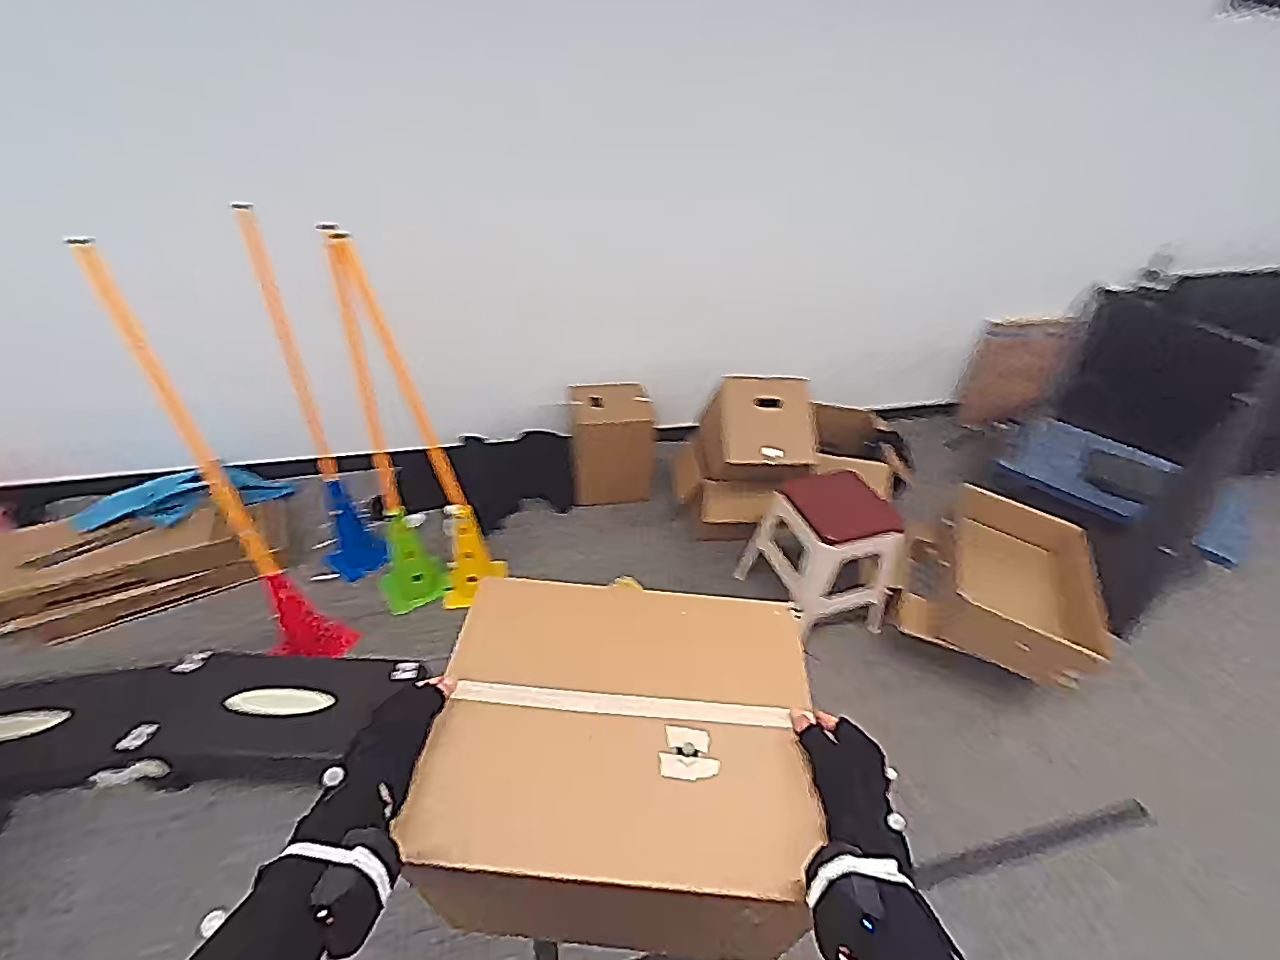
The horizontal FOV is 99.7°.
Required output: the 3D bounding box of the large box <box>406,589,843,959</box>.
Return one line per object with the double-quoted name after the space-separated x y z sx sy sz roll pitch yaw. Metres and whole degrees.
-0.015 0.369 0.689 0.408 0.320 0.320 5 41 1 "large box"
